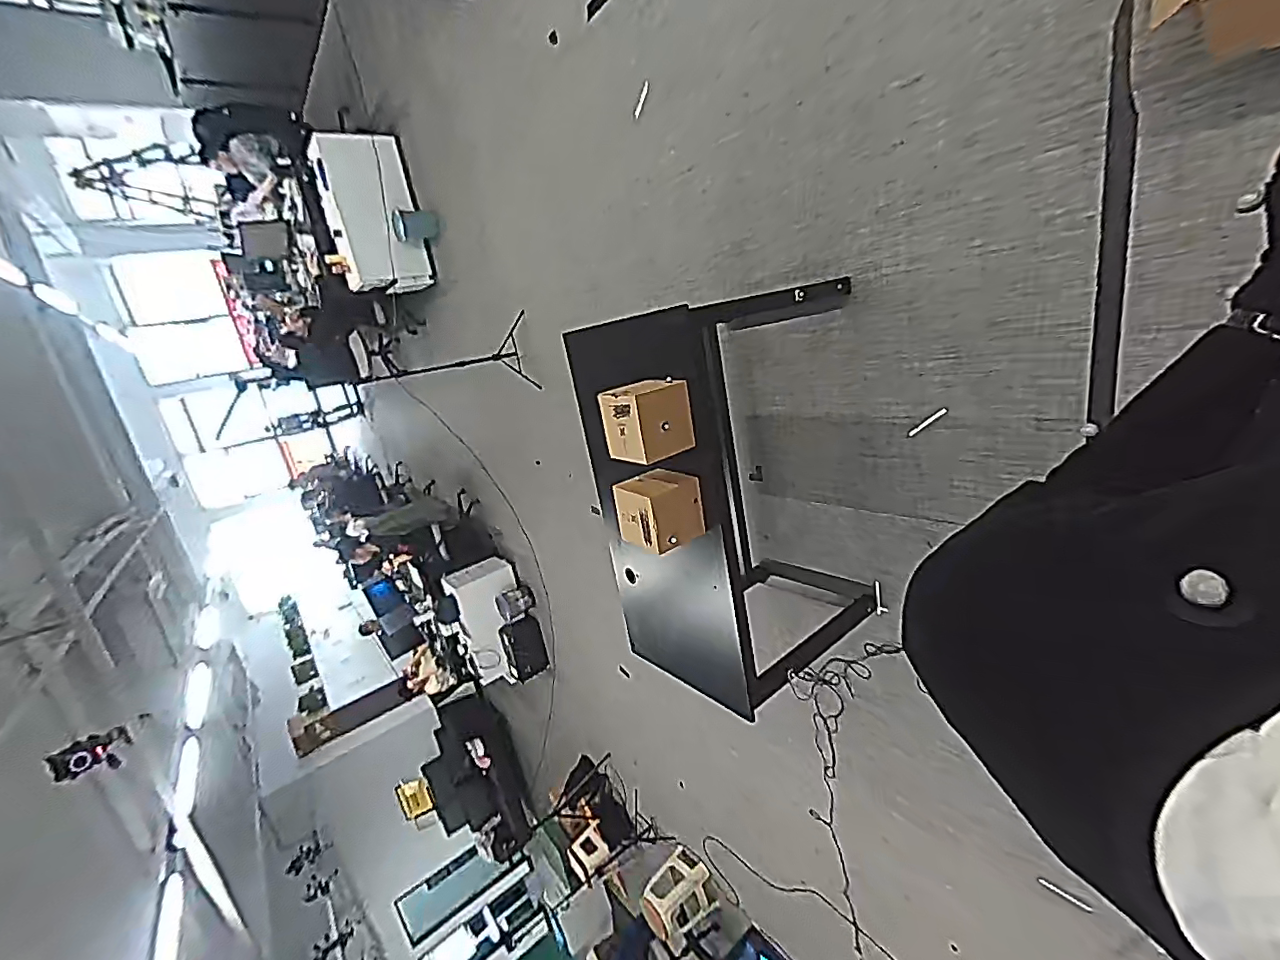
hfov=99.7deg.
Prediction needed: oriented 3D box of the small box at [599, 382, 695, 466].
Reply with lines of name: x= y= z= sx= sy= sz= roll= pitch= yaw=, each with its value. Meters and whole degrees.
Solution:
small box: x=0.022 y=-0.152 z=1.400 sx=0.168 sy=0.176 sz=0.179 roll=14 pitch=121 yaw=52
